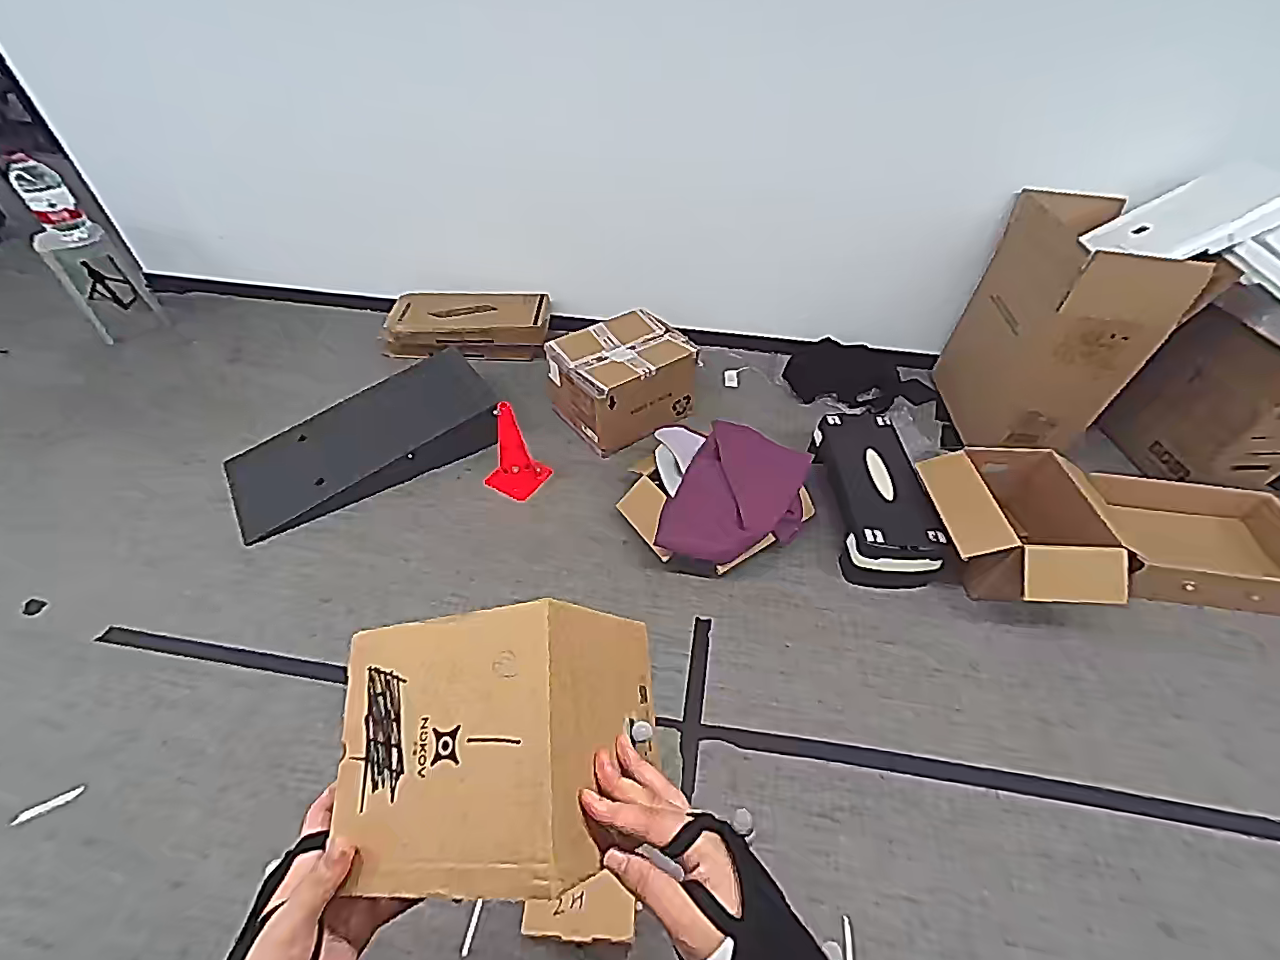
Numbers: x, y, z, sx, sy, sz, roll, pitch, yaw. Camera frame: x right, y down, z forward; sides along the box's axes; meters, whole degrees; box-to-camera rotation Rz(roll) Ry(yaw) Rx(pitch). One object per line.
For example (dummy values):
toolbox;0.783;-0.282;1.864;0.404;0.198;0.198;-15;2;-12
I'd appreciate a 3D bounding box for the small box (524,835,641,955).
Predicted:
small box;-0.084;0.656;0.890;0.168;0.176;0.179;2;46;2

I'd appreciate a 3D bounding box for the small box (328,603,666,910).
small box;-0.096;0.198;0.416;0.179;0.176;0.168;-14;67;20
